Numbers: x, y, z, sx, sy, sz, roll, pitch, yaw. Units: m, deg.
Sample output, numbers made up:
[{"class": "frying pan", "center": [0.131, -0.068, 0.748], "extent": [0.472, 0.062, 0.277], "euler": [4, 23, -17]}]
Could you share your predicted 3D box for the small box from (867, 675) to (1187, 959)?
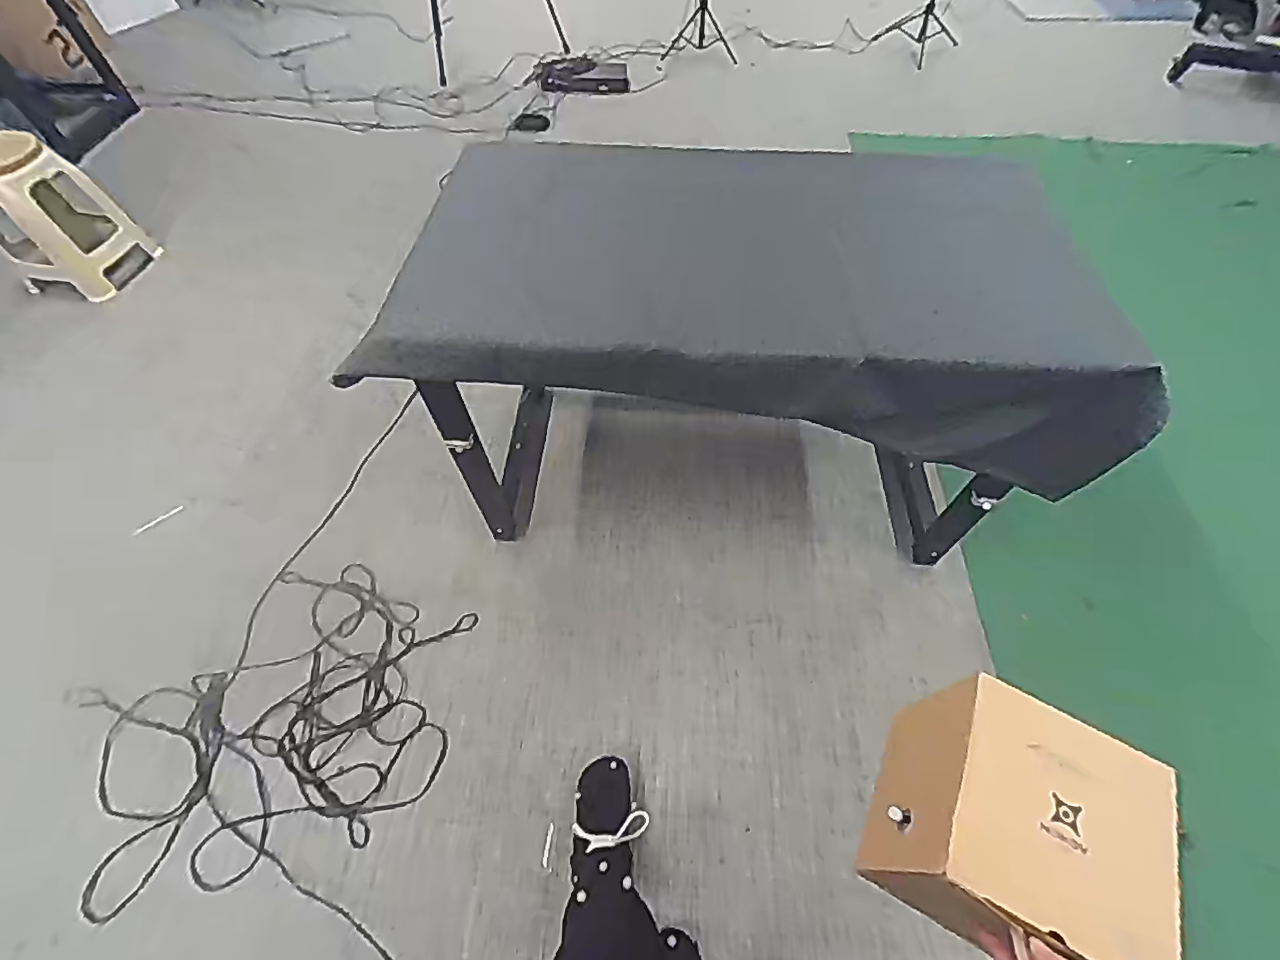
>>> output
[{"class": "small box", "center": [0.330, 0.316, 0.489], "extent": [0.168, 0.176, 0.179], "euler": [27, 56, 13]}]
